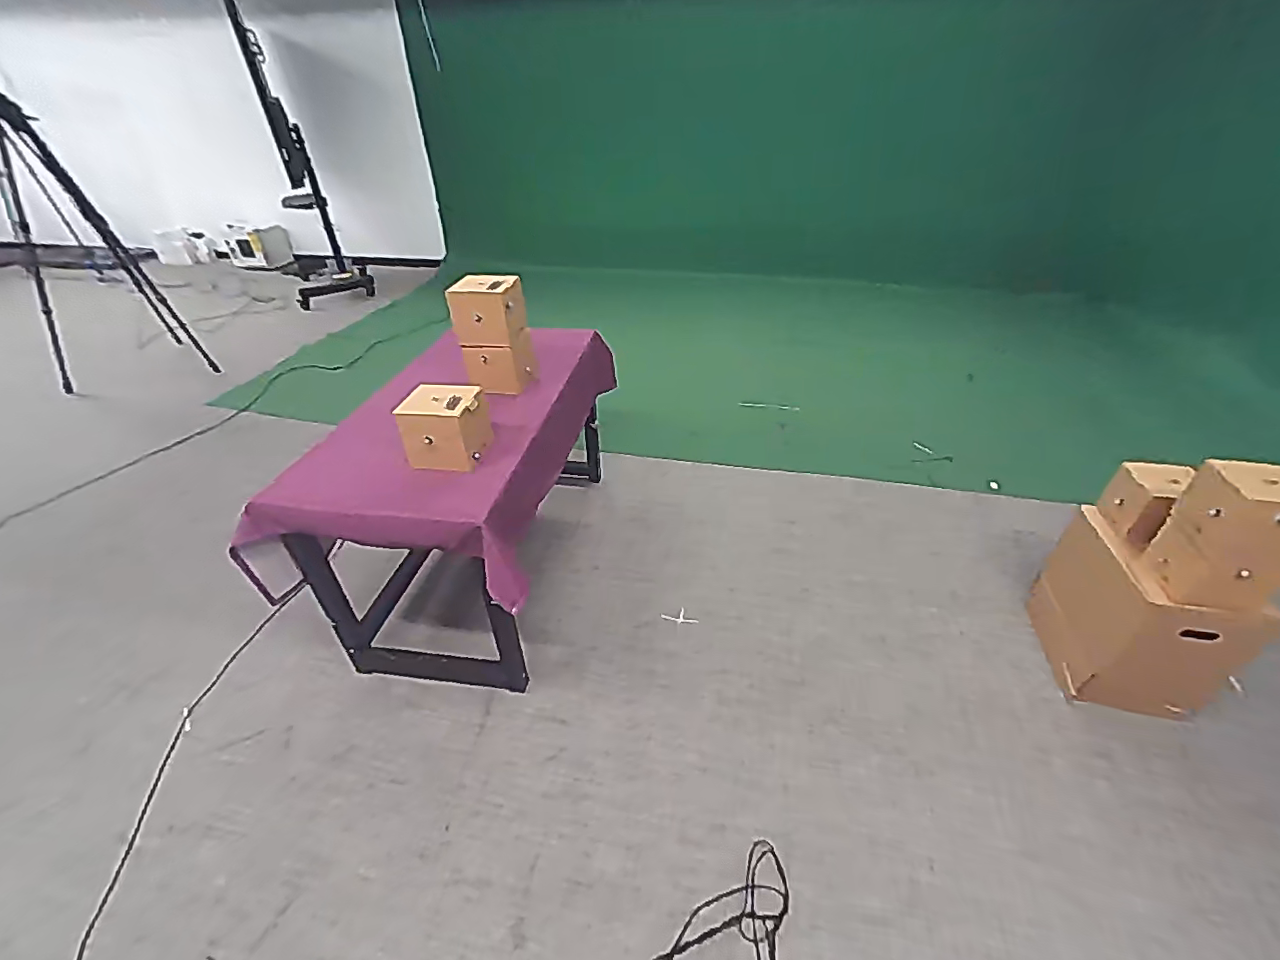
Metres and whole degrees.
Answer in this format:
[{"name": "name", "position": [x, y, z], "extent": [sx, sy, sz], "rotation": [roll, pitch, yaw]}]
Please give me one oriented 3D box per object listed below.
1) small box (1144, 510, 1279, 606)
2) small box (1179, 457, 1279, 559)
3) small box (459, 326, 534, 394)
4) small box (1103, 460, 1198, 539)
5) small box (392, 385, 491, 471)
[{"name": "small box", "position": [1.451, 0.198, 1.368], "extent": [0.179, 0.176, 0.168], "rotation": [6, 36, 10]}, {"name": "small box", "position": [1.437, 0.066, 1.273], "extent": [0.179, 0.176, 0.168], "rotation": [7, 37, 11]}, {"name": "small box", "position": [-0.464, -0.395, 1.778], "extent": [0.179, 0.176, 0.168], "rotation": [6, 38, 10]}, {"name": "small box", "position": [1.482, 0.061, 1.552], "extent": [0.179, 0.176, 0.168], "rotation": [5, 39, 11]}, {"name": "small box", "position": [-0.515, -0.138, 1.433], "extent": [0.179, 0.176, 0.168], "rotation": [3, 36, 7]}]
